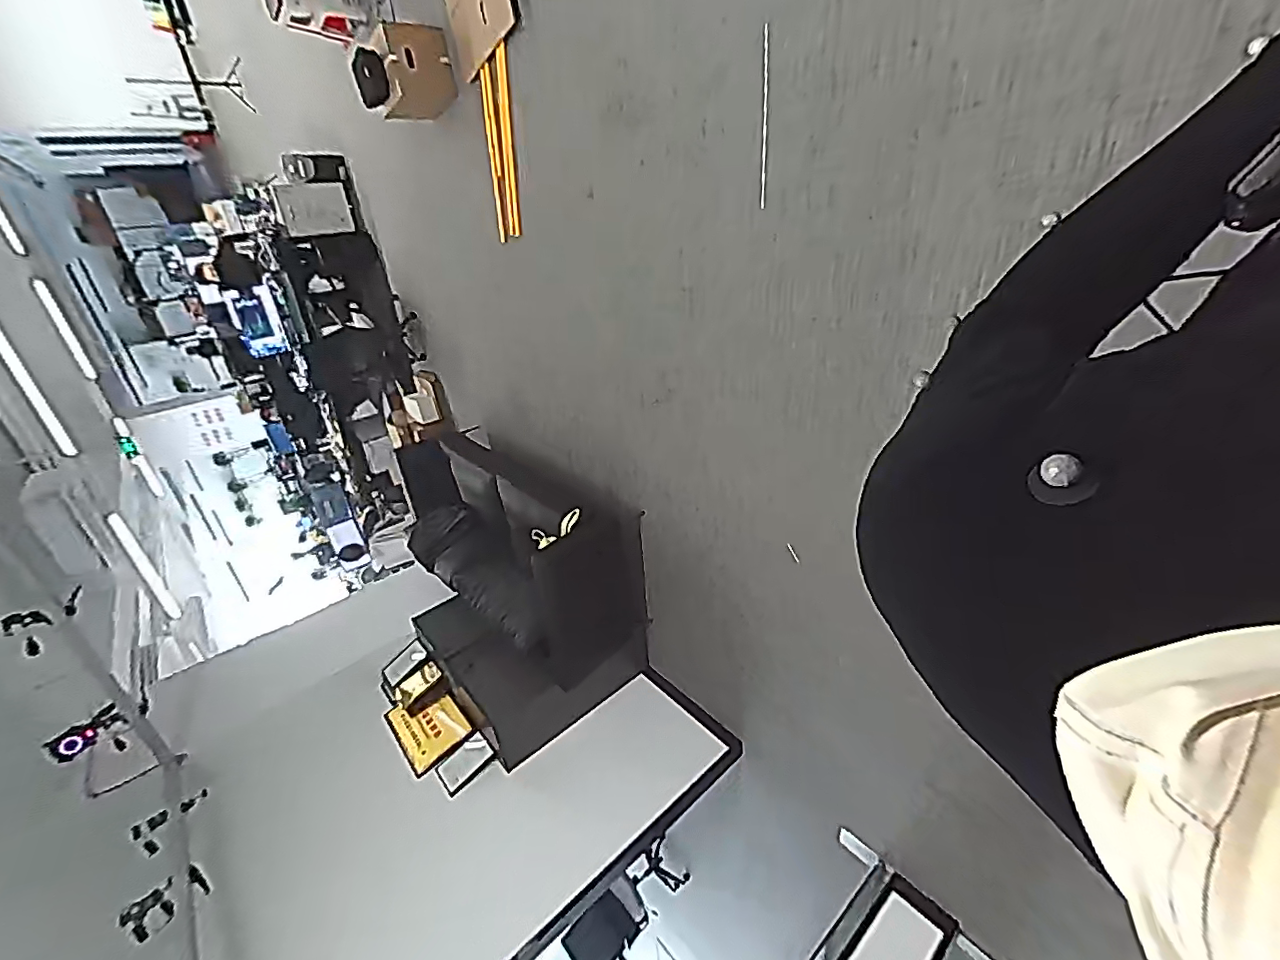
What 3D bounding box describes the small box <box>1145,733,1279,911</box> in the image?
[{"bbox_3d":[1.064,0.603,0.976,0.168,0.176,0.179,26,132,43],"label":"small box"}]
